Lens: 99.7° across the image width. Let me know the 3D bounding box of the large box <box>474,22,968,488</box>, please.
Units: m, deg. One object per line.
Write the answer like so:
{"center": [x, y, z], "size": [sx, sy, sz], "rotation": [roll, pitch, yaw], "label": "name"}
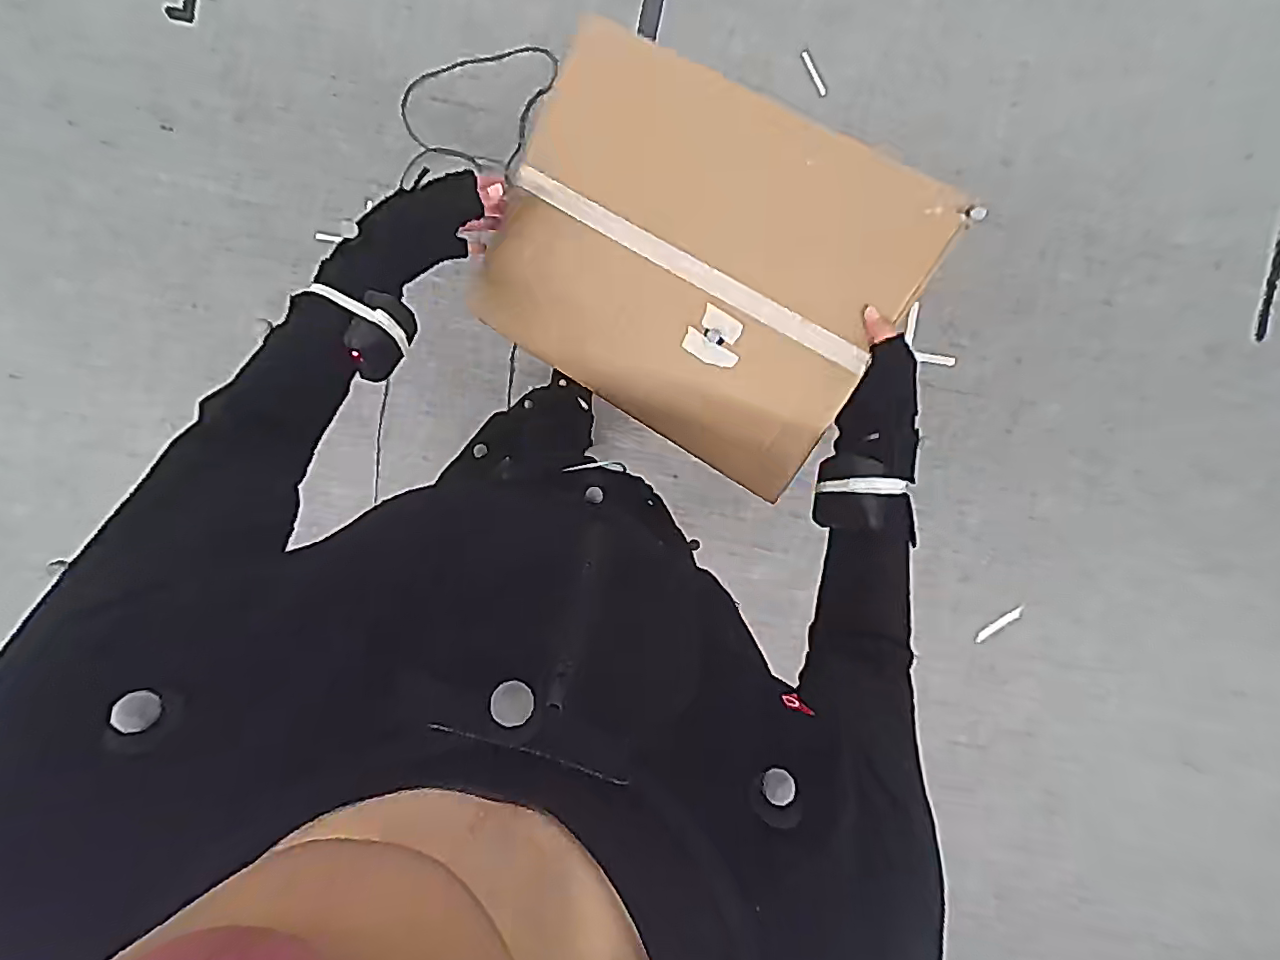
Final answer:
{"center": [0.086, -0.244, 0.678], "size": [0.408, 0.320, 0.320], "rotation": [32, 108, 8], "label": "large box"}
